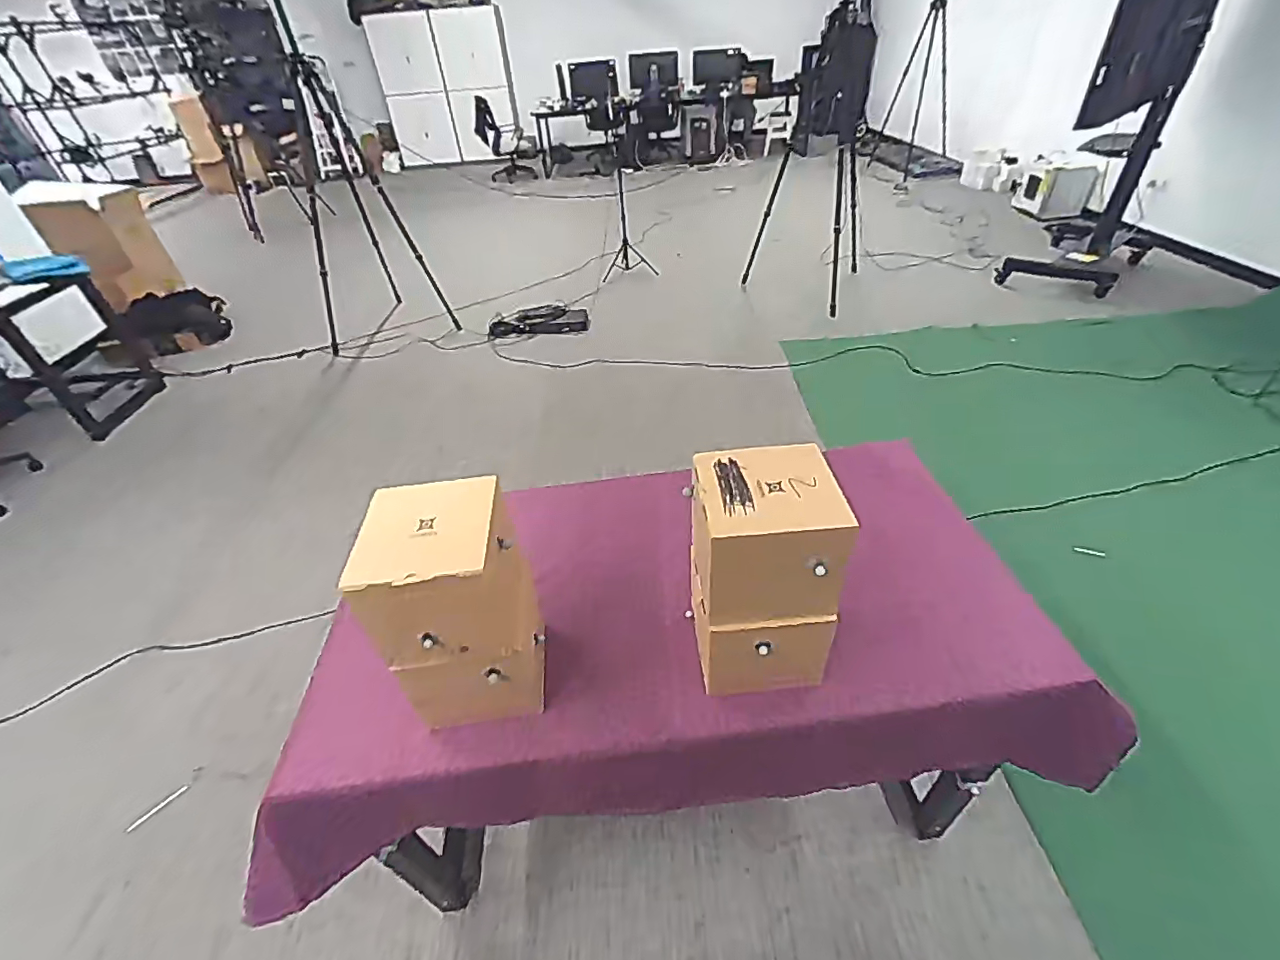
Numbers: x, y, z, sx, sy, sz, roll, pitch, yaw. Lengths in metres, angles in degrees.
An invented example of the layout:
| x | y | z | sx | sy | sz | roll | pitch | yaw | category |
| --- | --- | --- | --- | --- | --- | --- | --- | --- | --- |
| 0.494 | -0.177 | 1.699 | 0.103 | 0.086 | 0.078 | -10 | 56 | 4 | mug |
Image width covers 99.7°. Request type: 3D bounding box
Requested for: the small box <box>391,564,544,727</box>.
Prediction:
| x | y | z | sx | sy | sz | roll | pitch | yaw | category |
| --- | --- | --- | --- | --- | --- | --- | --- | --- | --- |
| -0.246 | 0.253 | 0.827 | 0.179 | 0.176 | 0.168 | -7 | 39 | -3 | small box |

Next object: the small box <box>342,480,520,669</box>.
| x | y | z | sx | sy | sz | roll | pitch | yaw | category |
| --- | --- | --- | --- | --- | --- | --- | --- | --- | --- |
| -0.261 | 0.125 | 0.727 | 0.168 | 0.176 | 0.179 | -7 | 41 | -3 | small box |

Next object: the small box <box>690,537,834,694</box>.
| x | y | z | sx | sy | sz | roll | pitch | yaw | category |
| --- | --- | --- | --- | --- | --- | --- | --- | --- | --- |
| 0.176 | 0.210 | 0.831 | 0.179 | 0.176 | 0.168 | -5 | 40 | -1 | small box |
